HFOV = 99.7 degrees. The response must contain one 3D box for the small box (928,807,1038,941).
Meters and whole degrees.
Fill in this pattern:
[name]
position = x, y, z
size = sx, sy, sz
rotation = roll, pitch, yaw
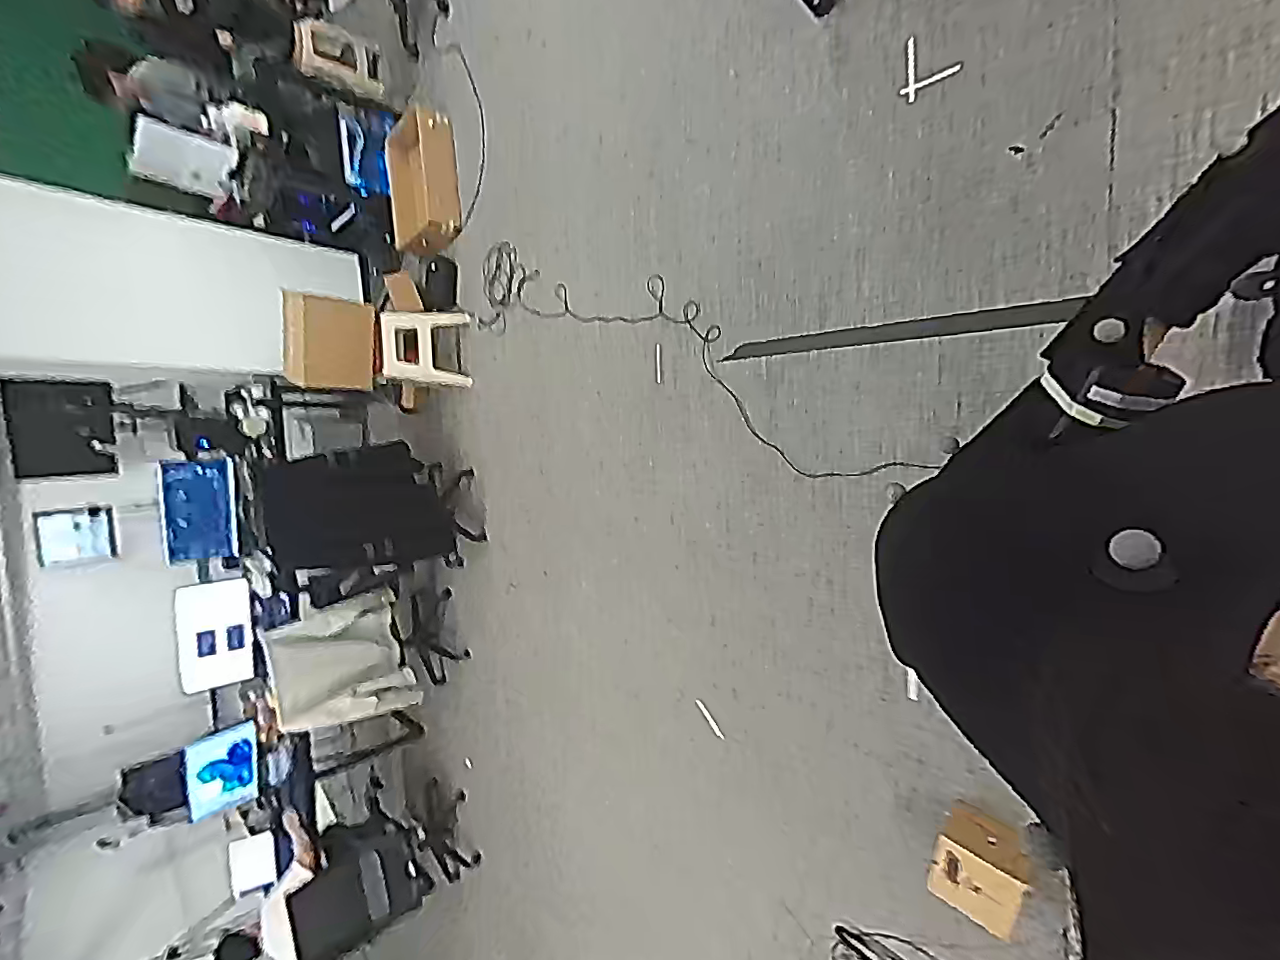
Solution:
[small box]
position = 0.839, 0.944, 1.321
size = 0.179, 0.176, 0.168
rotation = 18, 107, 41
